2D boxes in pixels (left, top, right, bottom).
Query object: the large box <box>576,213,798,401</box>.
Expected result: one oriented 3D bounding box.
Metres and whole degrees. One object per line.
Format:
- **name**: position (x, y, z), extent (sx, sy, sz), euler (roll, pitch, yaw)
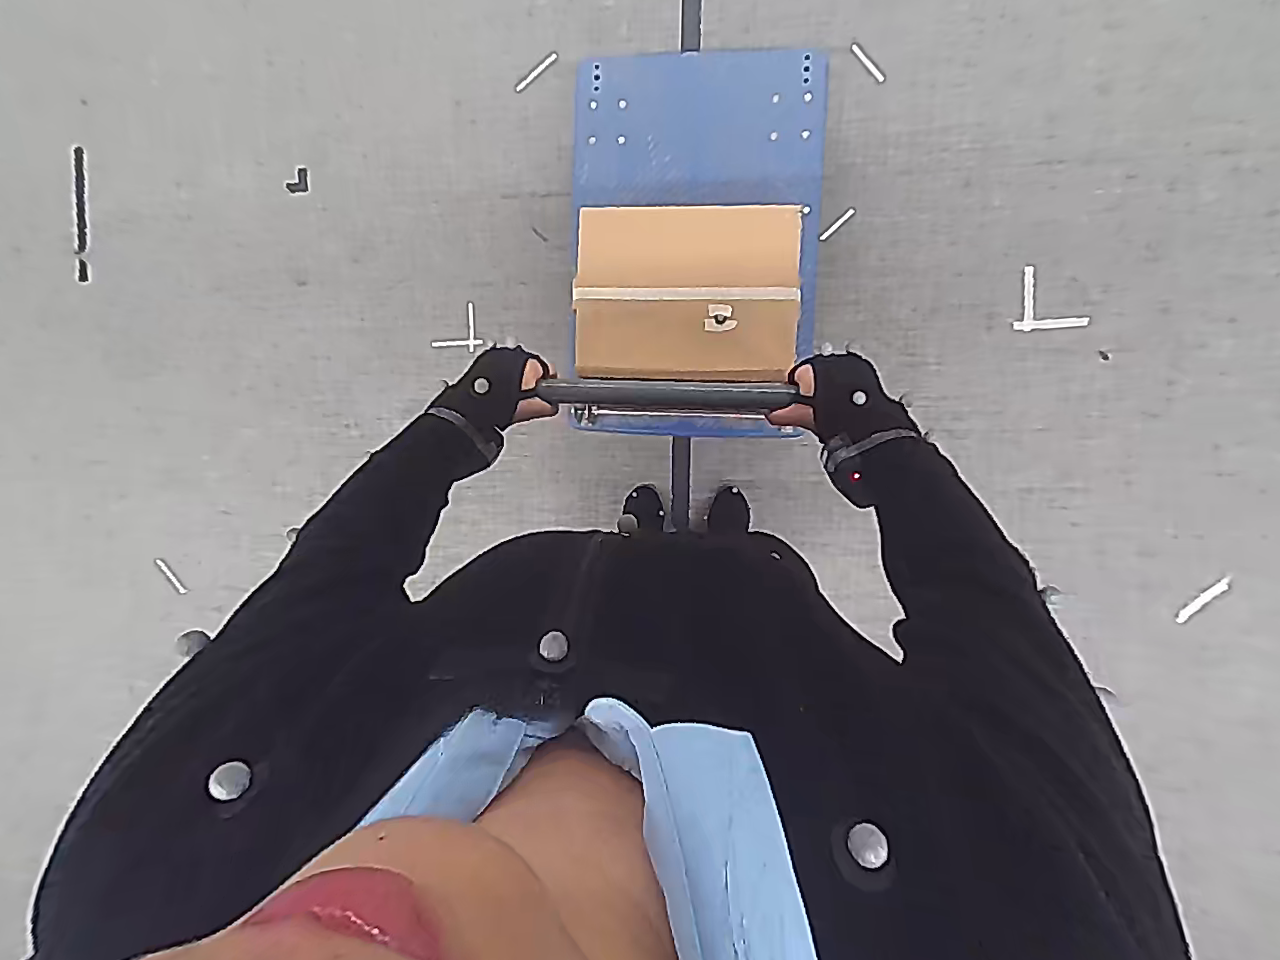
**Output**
- **large box**: position (0.094, -0.333, 1.132), extent (0.408, 0.320, 0.320), euler (2, 94, 6)
